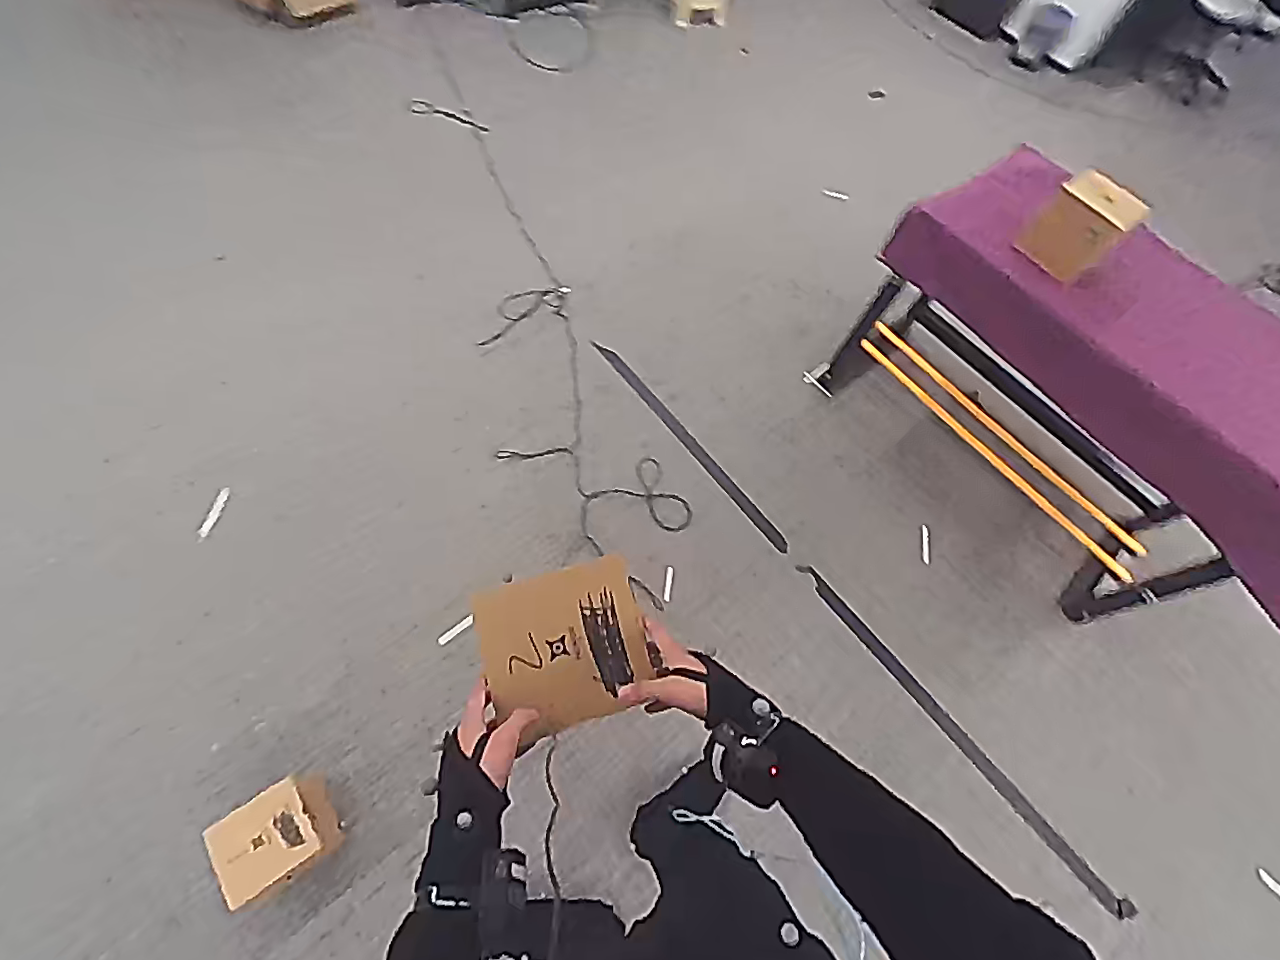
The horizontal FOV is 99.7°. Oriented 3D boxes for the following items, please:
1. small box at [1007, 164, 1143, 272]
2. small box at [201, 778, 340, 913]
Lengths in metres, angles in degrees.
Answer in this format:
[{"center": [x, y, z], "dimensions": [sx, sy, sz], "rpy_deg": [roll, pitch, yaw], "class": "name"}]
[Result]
[{"center": [1.097, -0.656, 1.375], "dimensions": [0.168, 0.176, 0.179], "rpy_deg": [-32, 72, -23], "class": "small box"}, {"center": [-0.772, 0.763, 1.156], "dimensions": [0.179, 0.176, 0.168], "rpy_deg": [-31, 71, -22], "class": "small box"}]
